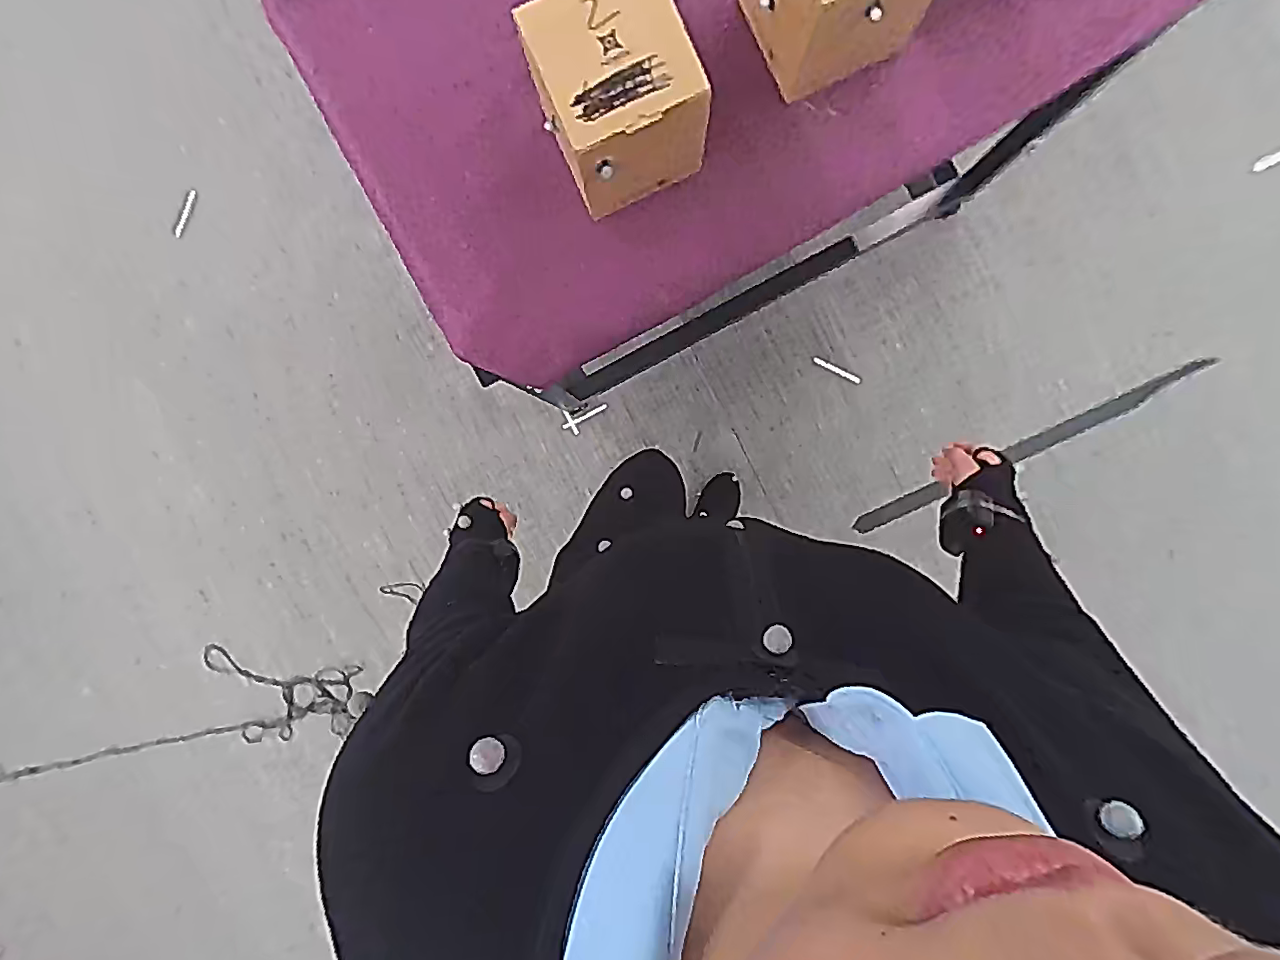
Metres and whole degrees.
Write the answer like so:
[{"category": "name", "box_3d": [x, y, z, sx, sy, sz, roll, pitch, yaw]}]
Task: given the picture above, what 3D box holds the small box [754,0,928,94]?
[{"category": "small box", "box_3d": [0.249, -0.623, 0.654, 0.179, 0.176, 0.168, -24, 91, 2]}]
